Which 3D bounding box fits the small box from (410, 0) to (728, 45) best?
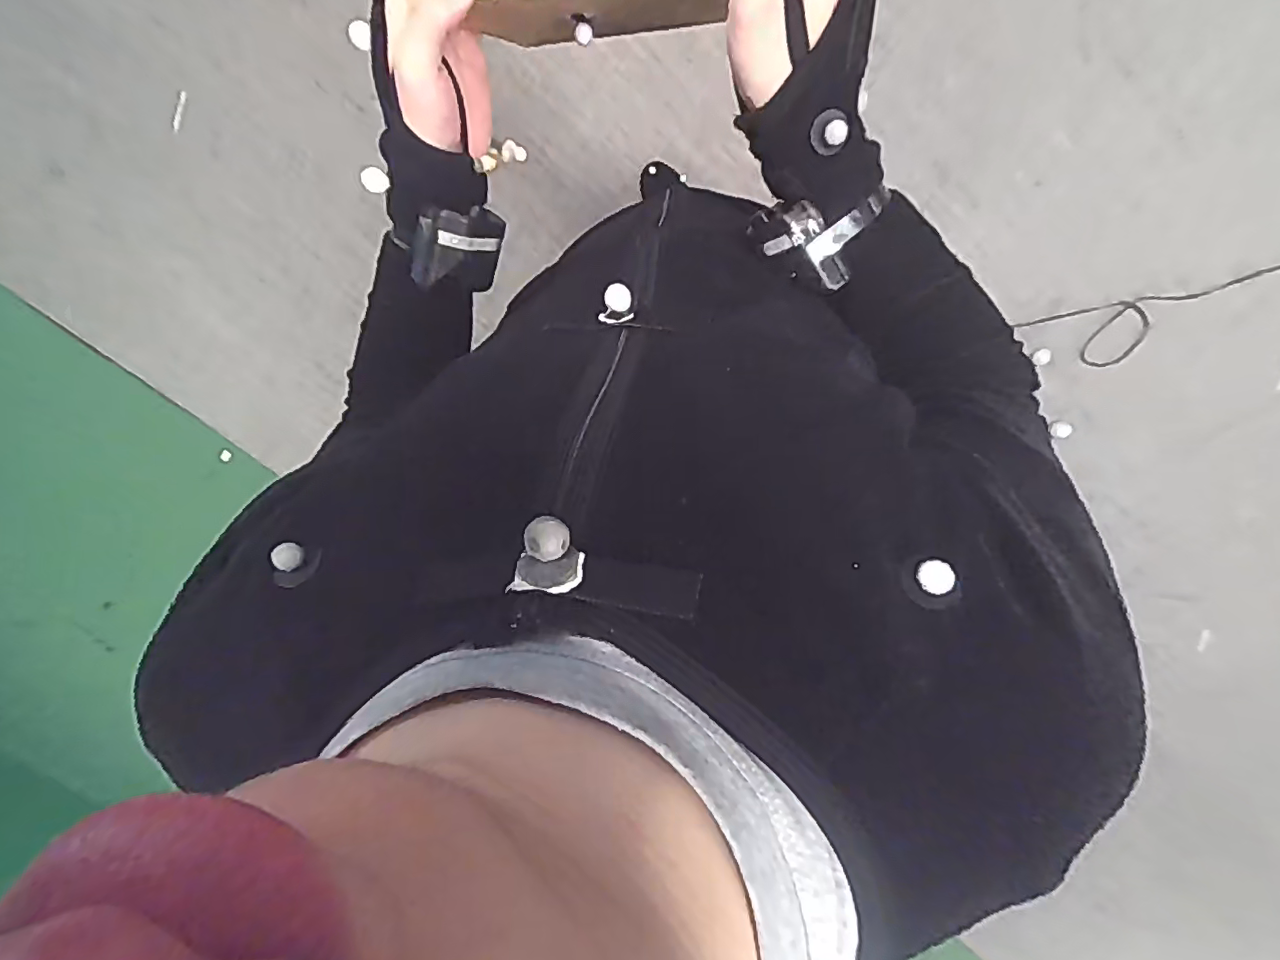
[{"bbox_3d":[-0.033,-0.372,0.312,0.179,0.176,0.168,4,123,14],"label":"small box"}]
